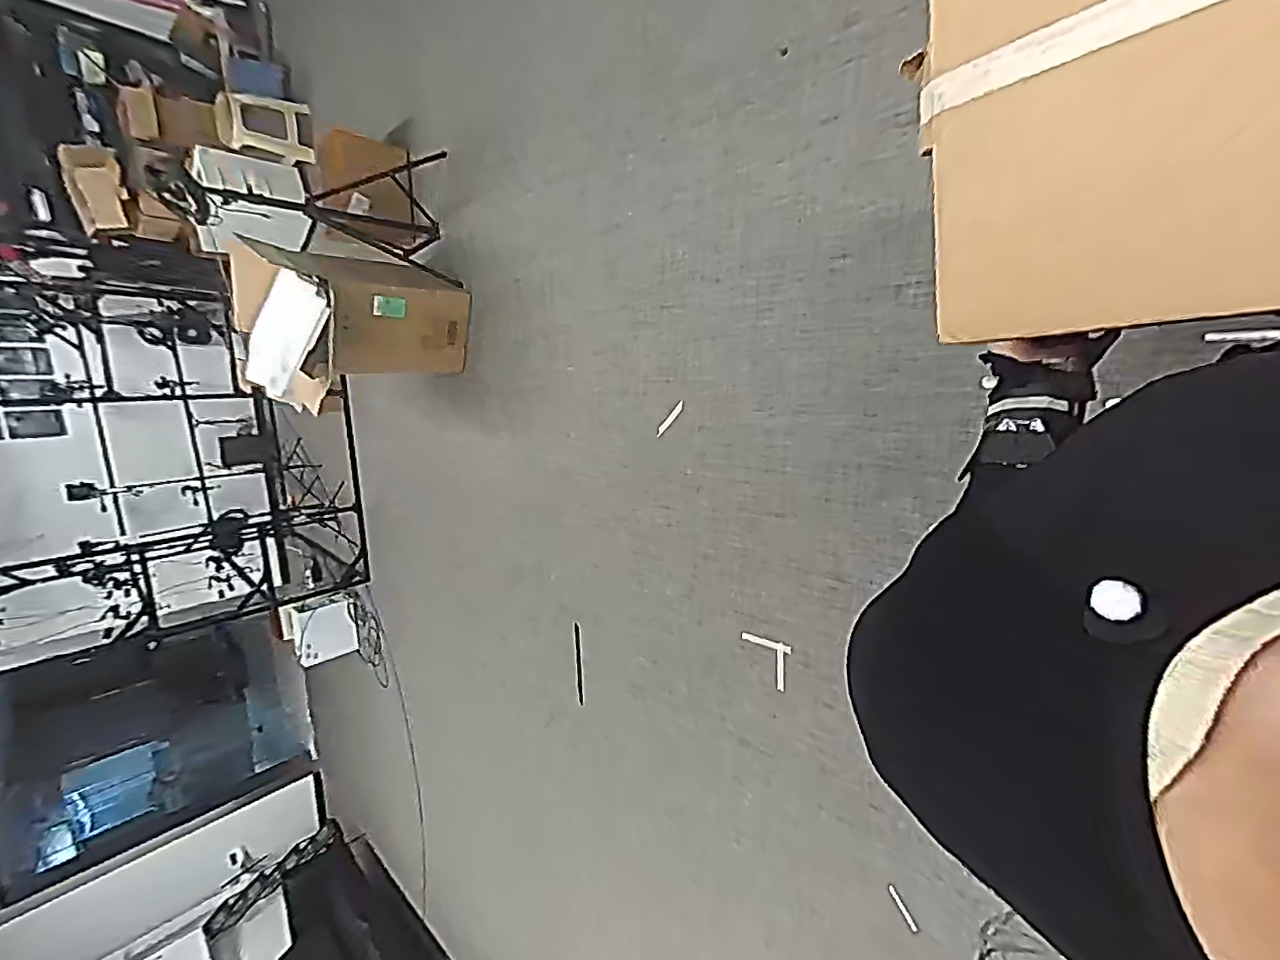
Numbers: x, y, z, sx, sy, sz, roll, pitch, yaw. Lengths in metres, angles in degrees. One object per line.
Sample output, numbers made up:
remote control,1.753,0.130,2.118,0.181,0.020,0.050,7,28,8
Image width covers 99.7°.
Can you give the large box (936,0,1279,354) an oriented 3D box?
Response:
large box,0.436,-0.262,0.307,0.408,0.320,0.320,3,106,47
